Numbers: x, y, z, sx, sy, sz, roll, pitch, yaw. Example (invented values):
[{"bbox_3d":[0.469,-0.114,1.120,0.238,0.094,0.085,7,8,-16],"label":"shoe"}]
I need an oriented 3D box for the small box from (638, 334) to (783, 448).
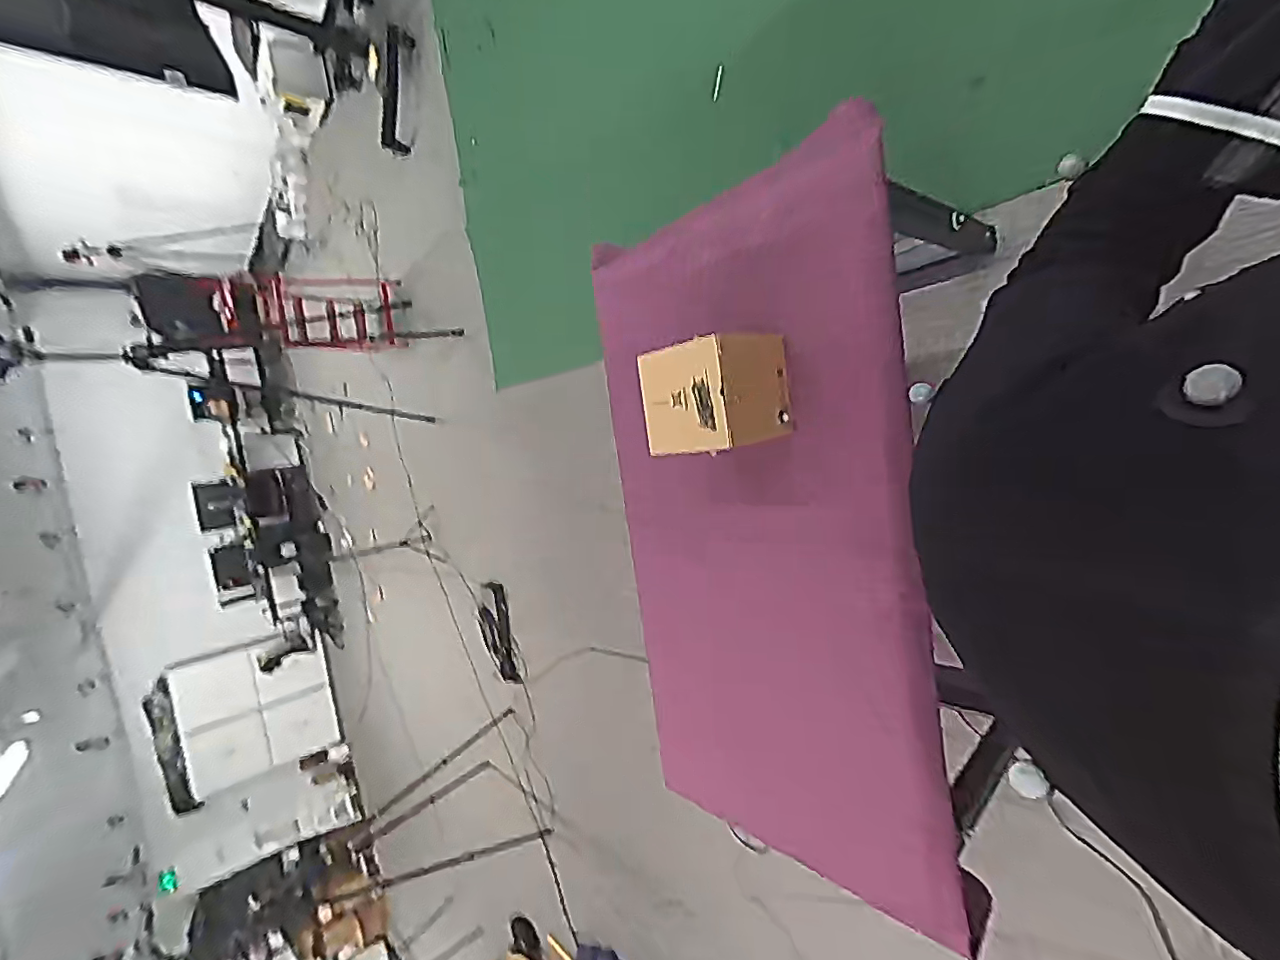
[{"bbox_3d":[0.121,-0.145,0.889,0.179,0.176,0.168,2,100,48],"label":"small box"}]
